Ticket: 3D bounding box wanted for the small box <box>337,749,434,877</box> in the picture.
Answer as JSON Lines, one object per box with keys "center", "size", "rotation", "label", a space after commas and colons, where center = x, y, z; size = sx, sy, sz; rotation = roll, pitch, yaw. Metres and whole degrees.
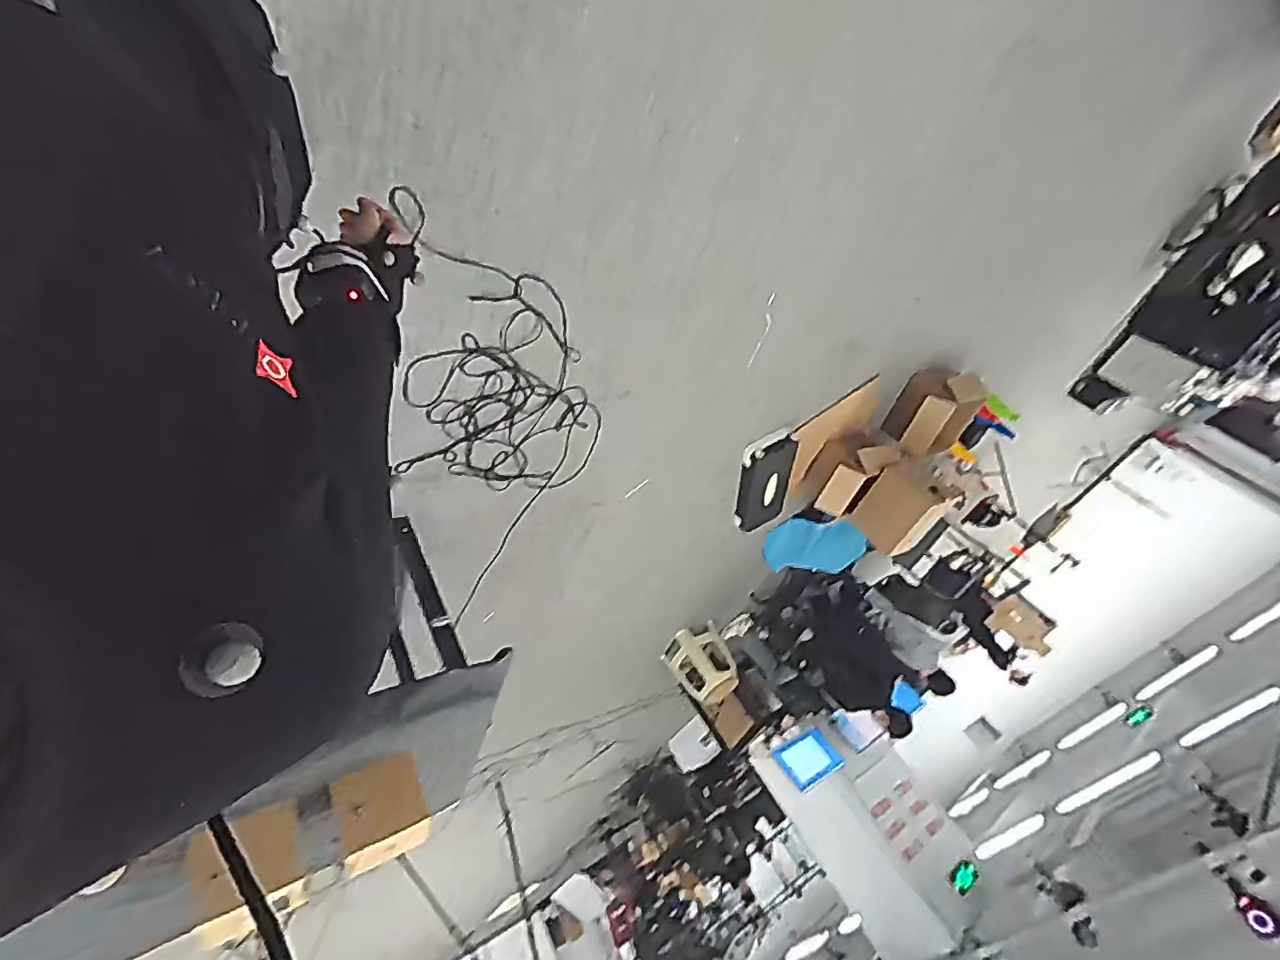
{"center": [-0.598, 0.770, 1.263], "size": [0.179, 0.176, 0.168], "rotation": [-12, 139, -35], "label": "small box"}
